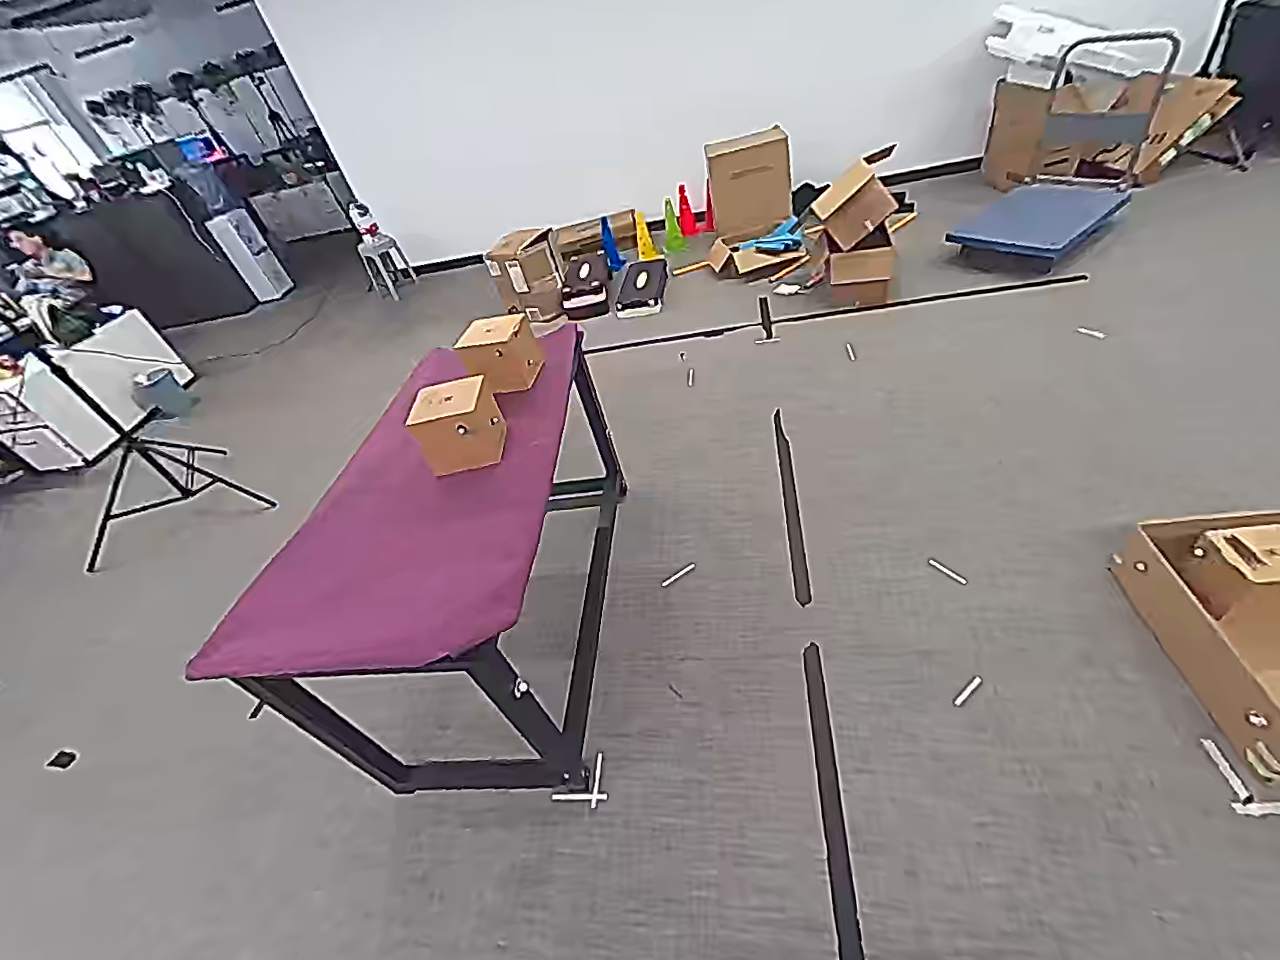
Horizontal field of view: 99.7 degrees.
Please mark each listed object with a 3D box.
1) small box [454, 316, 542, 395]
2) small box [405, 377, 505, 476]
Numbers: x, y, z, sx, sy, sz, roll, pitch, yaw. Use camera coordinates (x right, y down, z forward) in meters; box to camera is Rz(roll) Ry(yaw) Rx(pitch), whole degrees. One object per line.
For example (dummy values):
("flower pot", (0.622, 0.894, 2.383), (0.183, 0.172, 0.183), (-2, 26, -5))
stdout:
("small box", (-0.420, -0.371, 1.631), (0.179, 0.176, 0.168), (-4, 43, 15))
("small box", (-0.461, -0.134, 1.384), (0.179, 0.176, 0.168), (-12, 41, 5))
